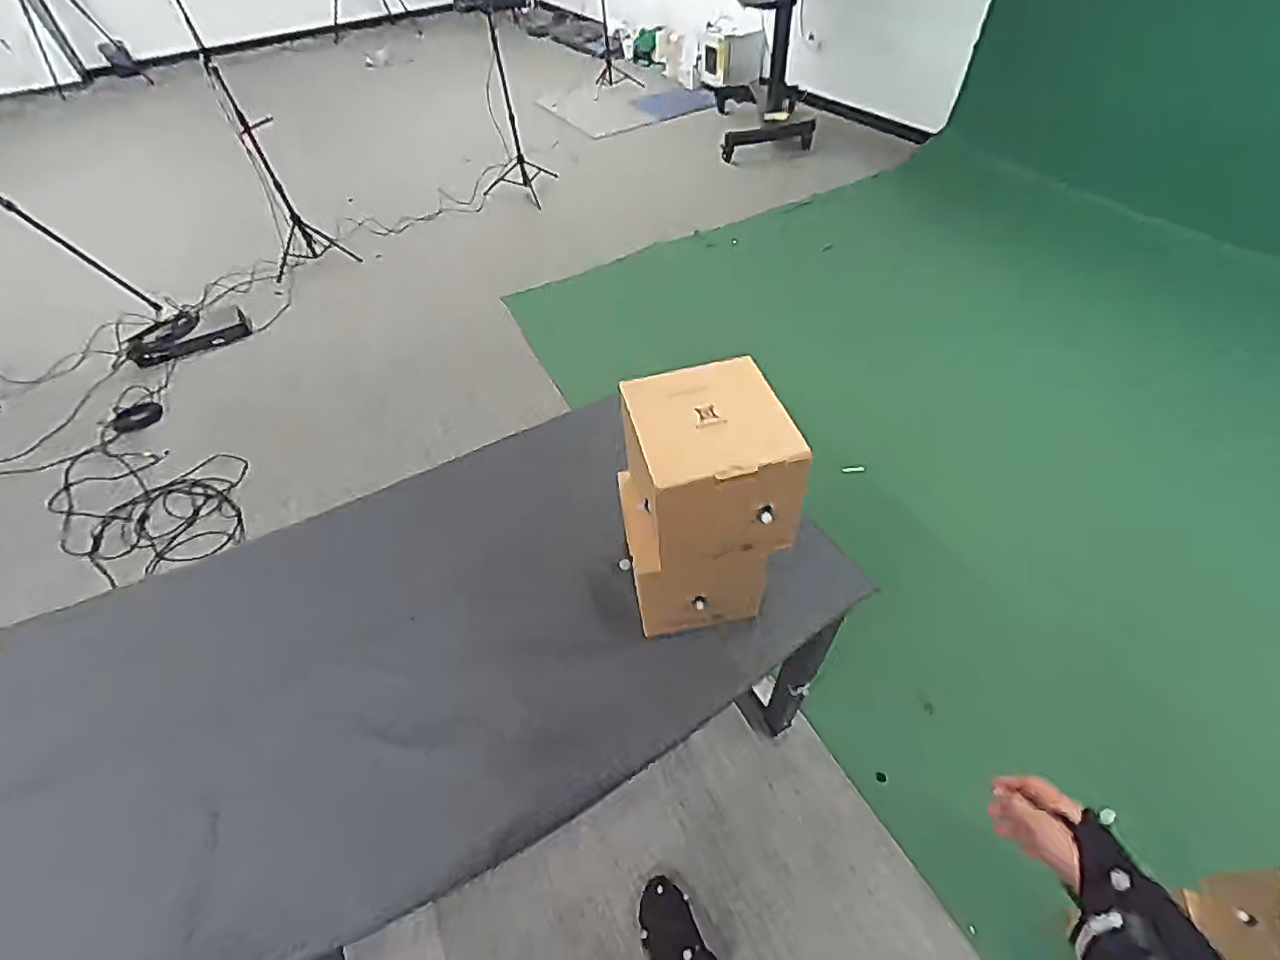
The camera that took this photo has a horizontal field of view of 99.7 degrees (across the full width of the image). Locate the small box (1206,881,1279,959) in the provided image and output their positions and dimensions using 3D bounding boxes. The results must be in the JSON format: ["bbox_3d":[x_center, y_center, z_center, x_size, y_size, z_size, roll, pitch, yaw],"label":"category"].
[{"bbox_3d":[0.923,0.677,0.728,0.168,0.176,0.179,26,57,25],"label":"small box"}]

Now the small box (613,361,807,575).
[{"bbox_3d":[0.074,-0.008,0.633,0.168,0.176,0.179,-13,48,-7],"label":"small box"}]

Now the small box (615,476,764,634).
[{"bbox_3d":[0.065,0.099,0.757,0.168,0.176,0.179,-10,48,-3],"label":"small box"}]

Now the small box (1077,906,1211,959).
[{"bbox_3d":[0.934,0.901,0.969,0.168,0.176,0.179,10,51,13],"label":"small box"}]
